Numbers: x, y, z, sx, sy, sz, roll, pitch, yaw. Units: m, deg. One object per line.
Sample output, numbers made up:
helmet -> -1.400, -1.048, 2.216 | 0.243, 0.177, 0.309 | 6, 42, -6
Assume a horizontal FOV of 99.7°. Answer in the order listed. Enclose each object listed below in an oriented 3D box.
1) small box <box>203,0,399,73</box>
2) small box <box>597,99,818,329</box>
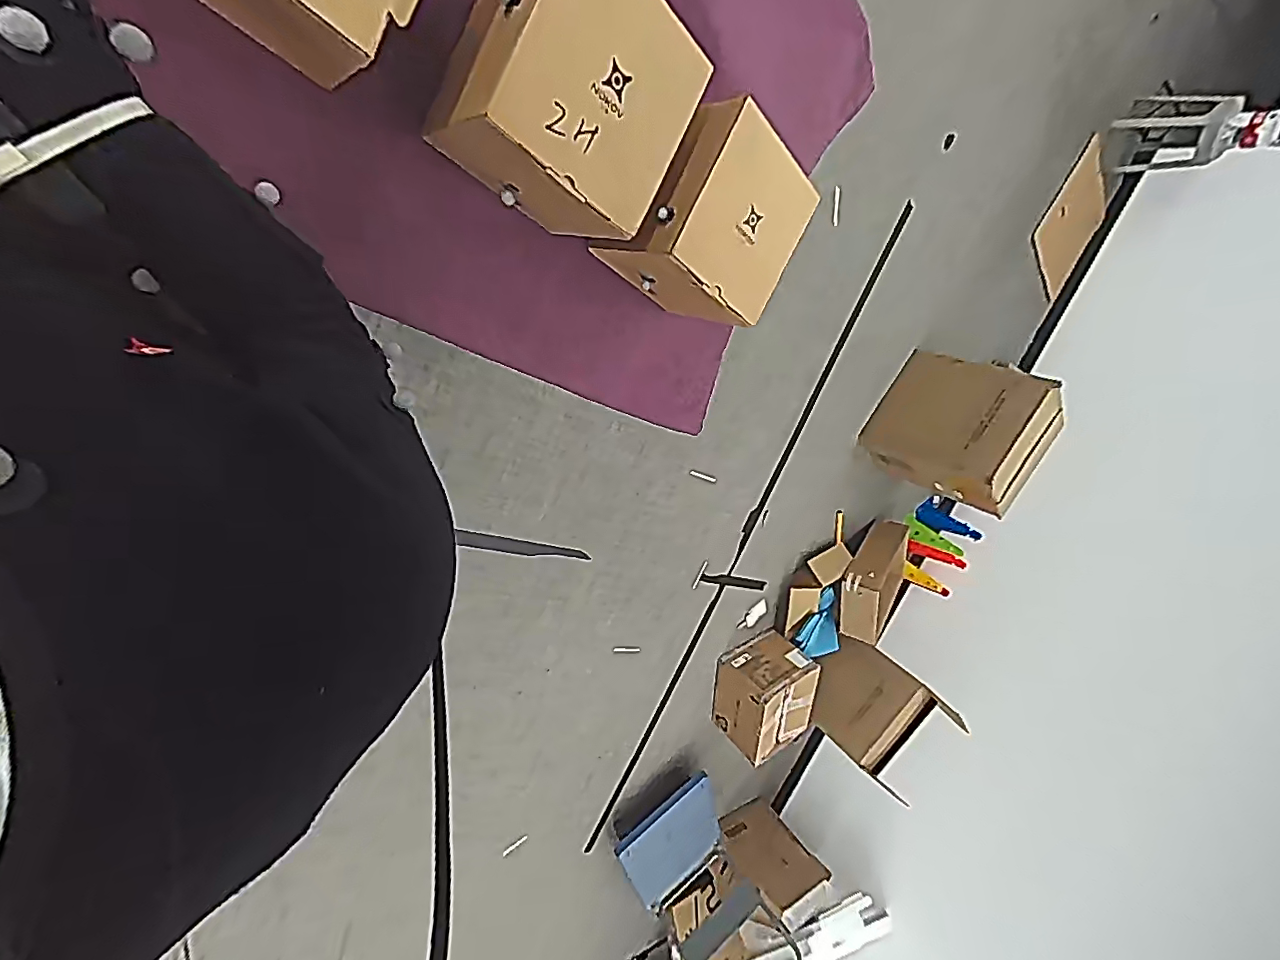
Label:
small box -> -0.245, -0.403, 0.346 | 0.179, 0.176, 0.168 | 21, 99, -44
small box -> 0.075, -0.312, 0.656 | 0.168, 0.176, 0.179 | 22, 97, -43
